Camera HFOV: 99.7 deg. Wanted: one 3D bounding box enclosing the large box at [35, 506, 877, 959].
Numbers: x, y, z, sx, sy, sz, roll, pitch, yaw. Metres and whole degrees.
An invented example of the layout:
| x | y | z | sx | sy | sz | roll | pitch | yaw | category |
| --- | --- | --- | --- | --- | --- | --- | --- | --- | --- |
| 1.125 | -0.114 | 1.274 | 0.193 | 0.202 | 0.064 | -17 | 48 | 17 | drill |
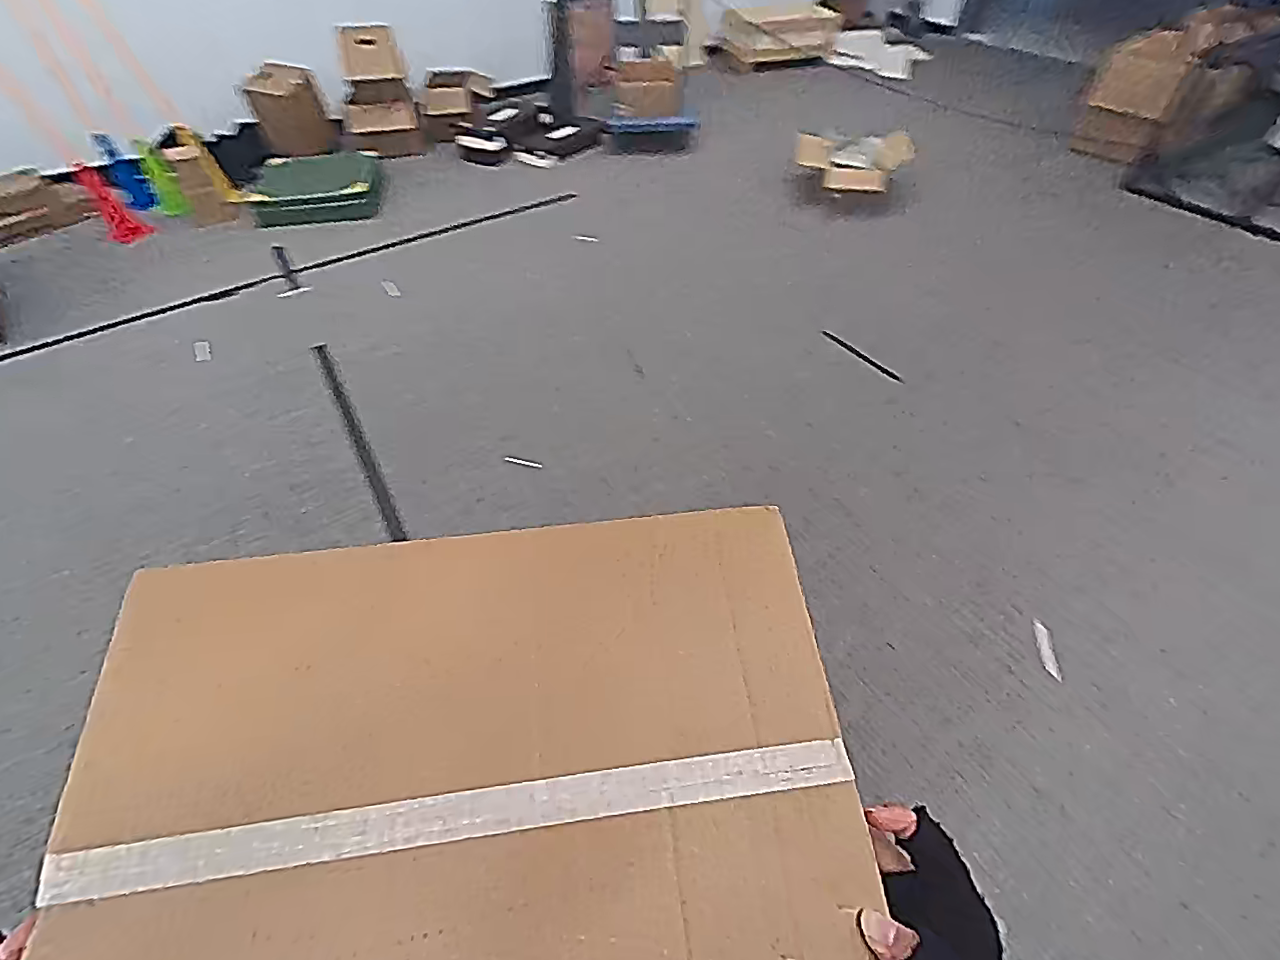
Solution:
| x | y | z | sx | sy | sz | roll | pitch | yaw | category |
| --- | --- | --- | --- | --- | --- | --- | --- | --- | --- |
| -0.100 | 0.246 | 0.422 | 0.408 | 0.320 | 0.320 | -7 | 64 | -6 | large box |
